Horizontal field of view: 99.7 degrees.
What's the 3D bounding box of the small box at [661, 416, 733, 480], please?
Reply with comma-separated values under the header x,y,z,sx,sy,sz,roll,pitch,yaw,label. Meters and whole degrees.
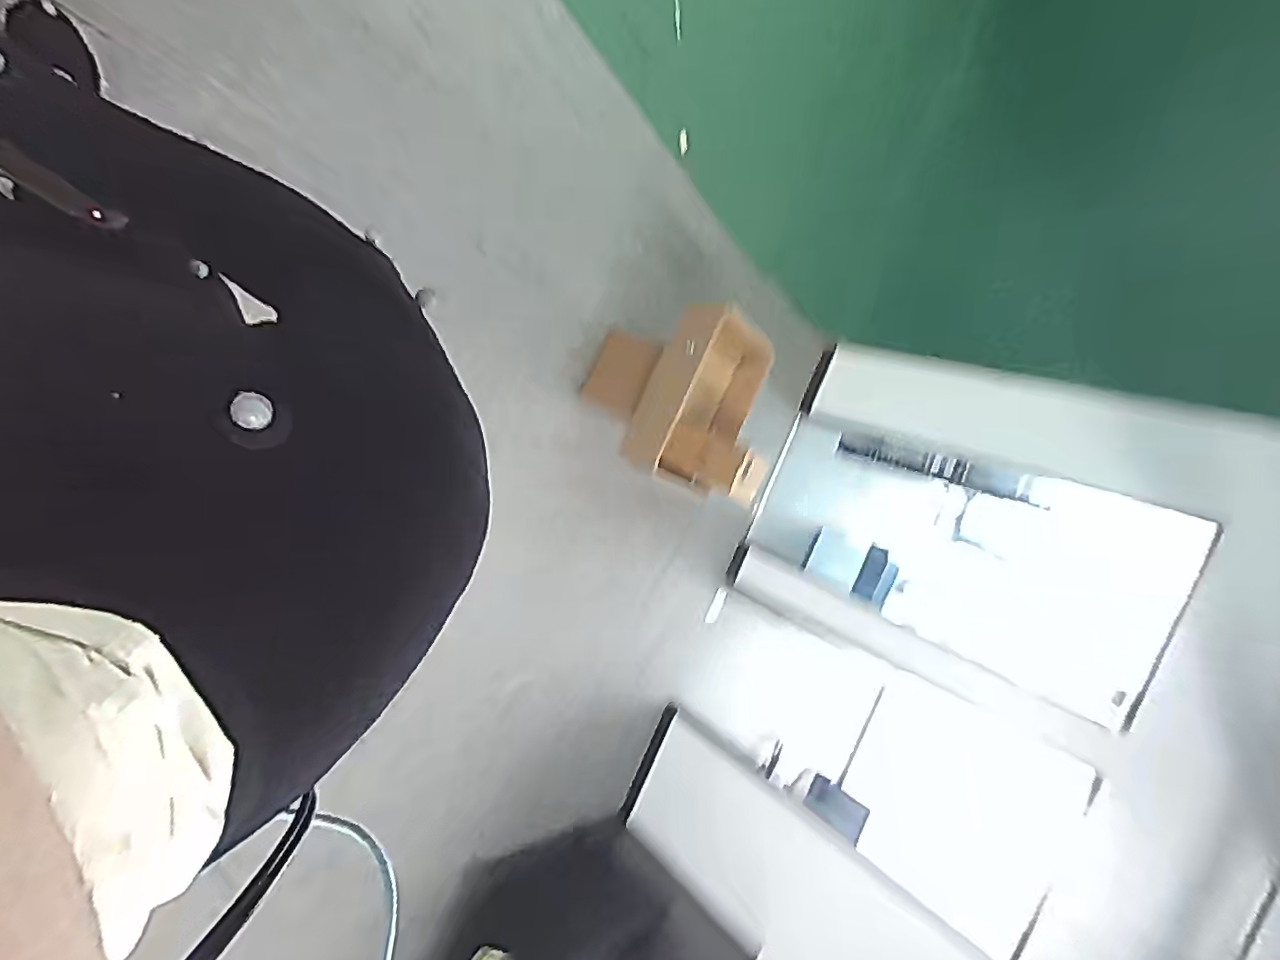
x,y,z,sx,sy,sz,roll,pitch,yaw,label
0.211,-0.120,2.006,0.179,0.176,0.168,24,92,-51,small box
